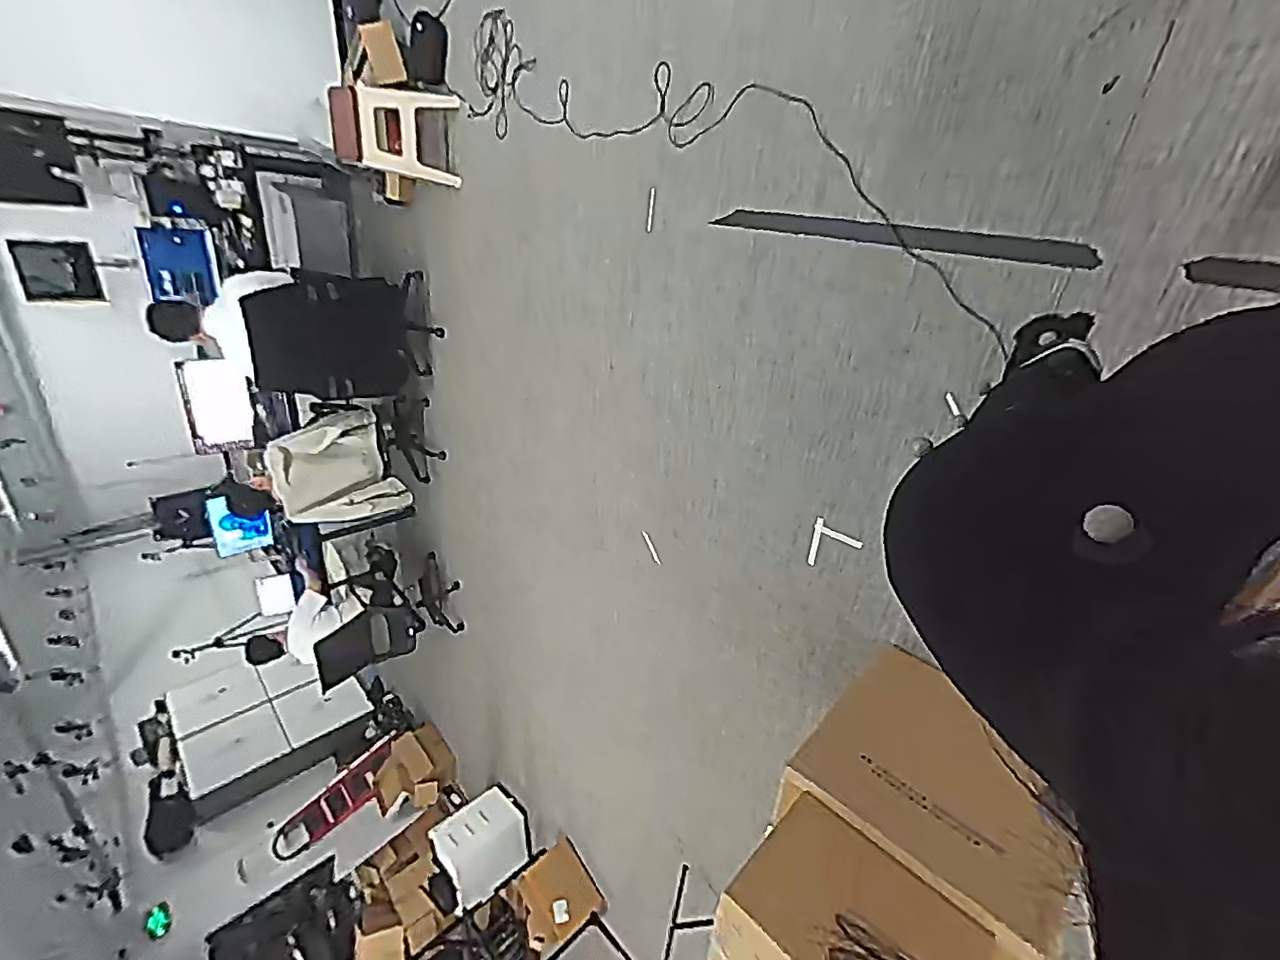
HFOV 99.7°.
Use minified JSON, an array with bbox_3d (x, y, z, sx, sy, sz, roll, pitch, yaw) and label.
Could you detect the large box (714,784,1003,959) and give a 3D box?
[{"bbox_3d":[0.409,0.918,1.060,0.408,0.320,0.320,26,121,40],"label":"large box"}]
